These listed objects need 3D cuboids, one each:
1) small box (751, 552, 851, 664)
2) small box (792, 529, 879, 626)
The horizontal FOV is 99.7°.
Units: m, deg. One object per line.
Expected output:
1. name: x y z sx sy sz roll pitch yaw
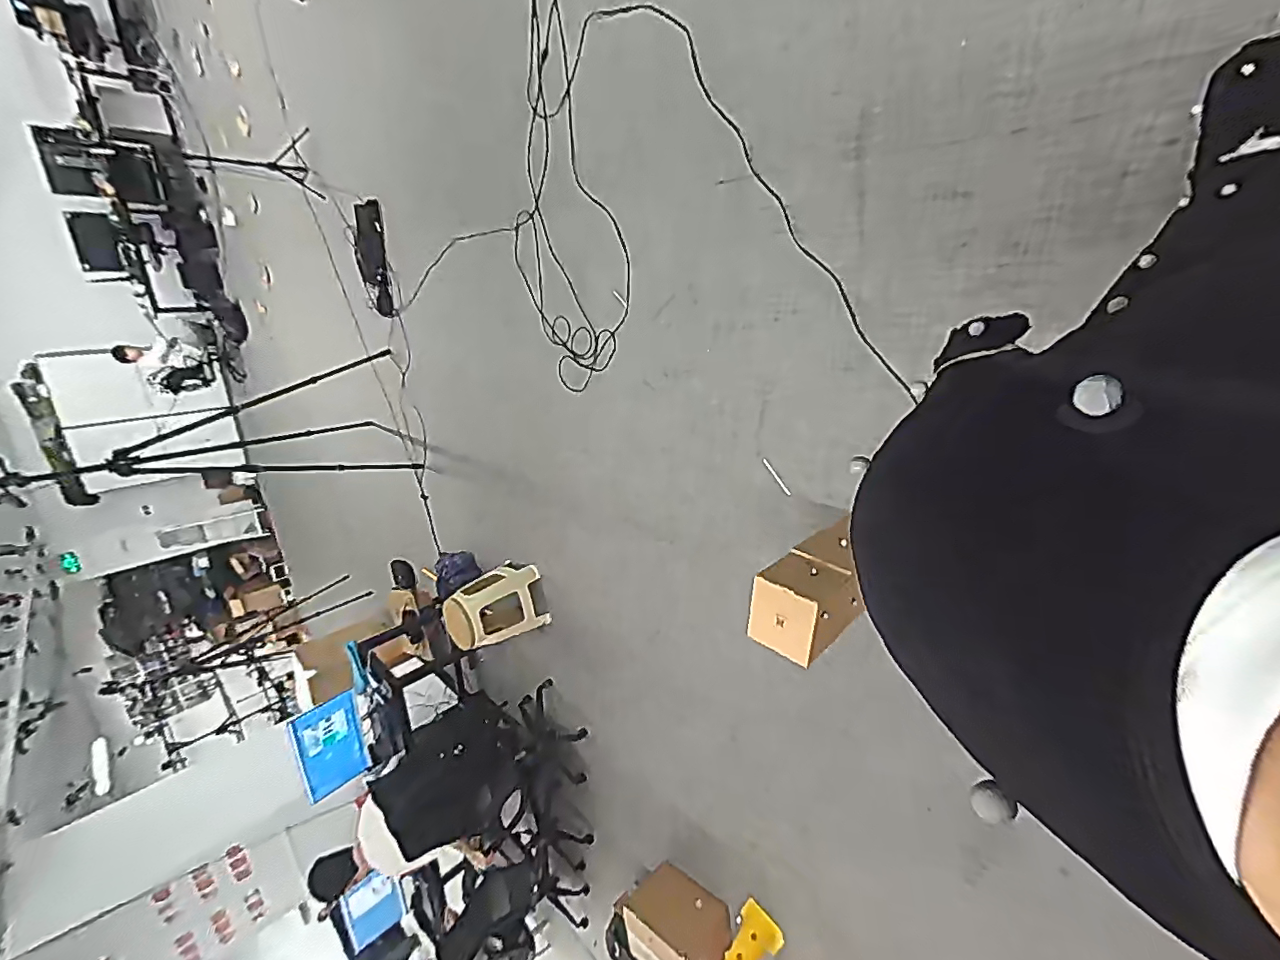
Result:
1. small box: 0.391 0.302 1.308 0.168 0.176 0.179 21 118 40
2. small box: 0.504 0.252 1.414 0.168 0.176 0.179 21 119 40
